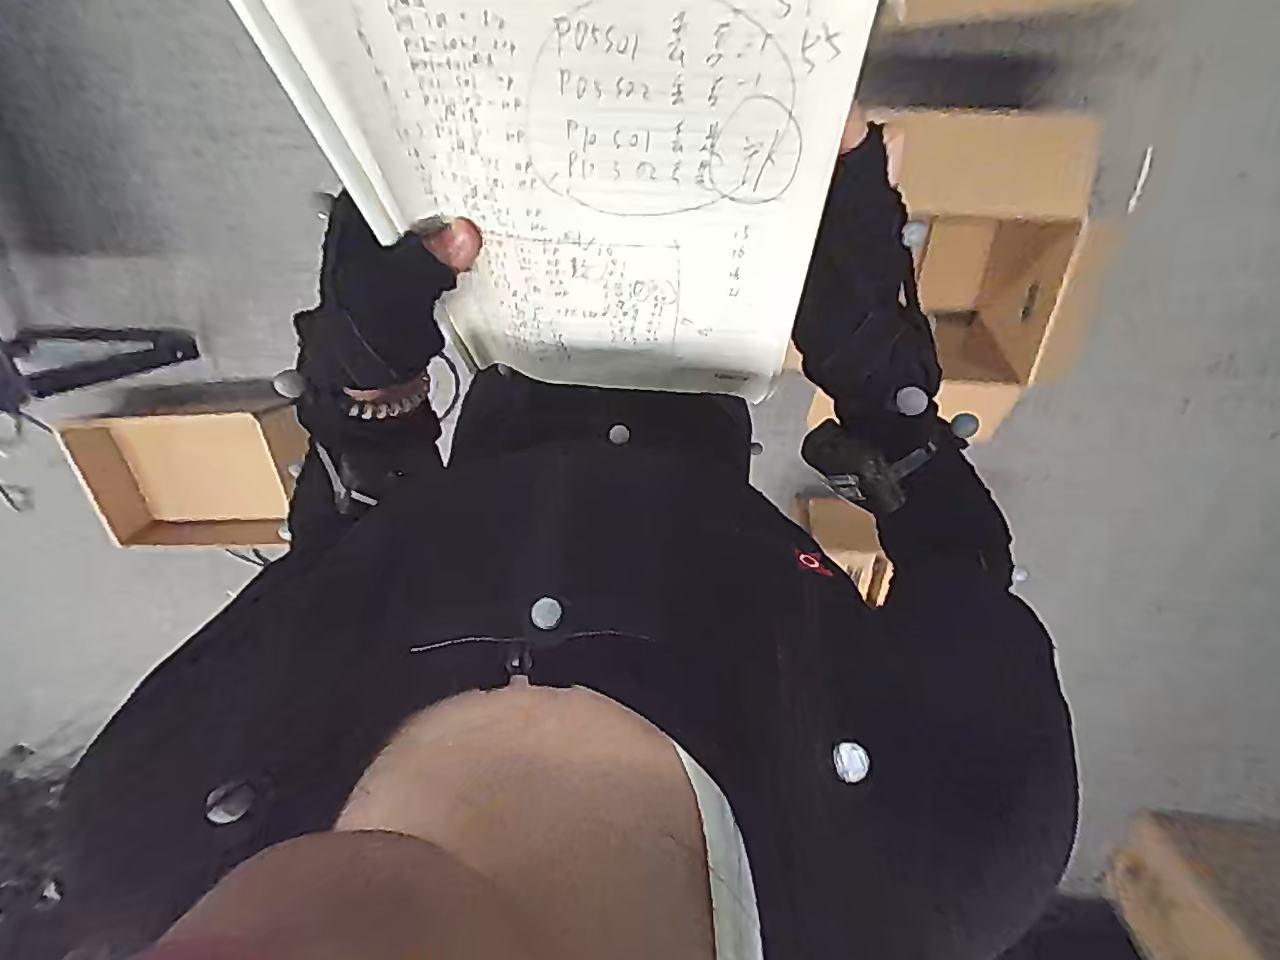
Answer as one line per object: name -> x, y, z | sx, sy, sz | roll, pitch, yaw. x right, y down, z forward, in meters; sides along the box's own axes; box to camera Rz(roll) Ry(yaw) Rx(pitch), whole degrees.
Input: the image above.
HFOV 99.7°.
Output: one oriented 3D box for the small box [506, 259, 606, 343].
small box -> -0.200, -0.434, 1.302 | 0.179, 0.176, 0.168 | 5, 119, 19
